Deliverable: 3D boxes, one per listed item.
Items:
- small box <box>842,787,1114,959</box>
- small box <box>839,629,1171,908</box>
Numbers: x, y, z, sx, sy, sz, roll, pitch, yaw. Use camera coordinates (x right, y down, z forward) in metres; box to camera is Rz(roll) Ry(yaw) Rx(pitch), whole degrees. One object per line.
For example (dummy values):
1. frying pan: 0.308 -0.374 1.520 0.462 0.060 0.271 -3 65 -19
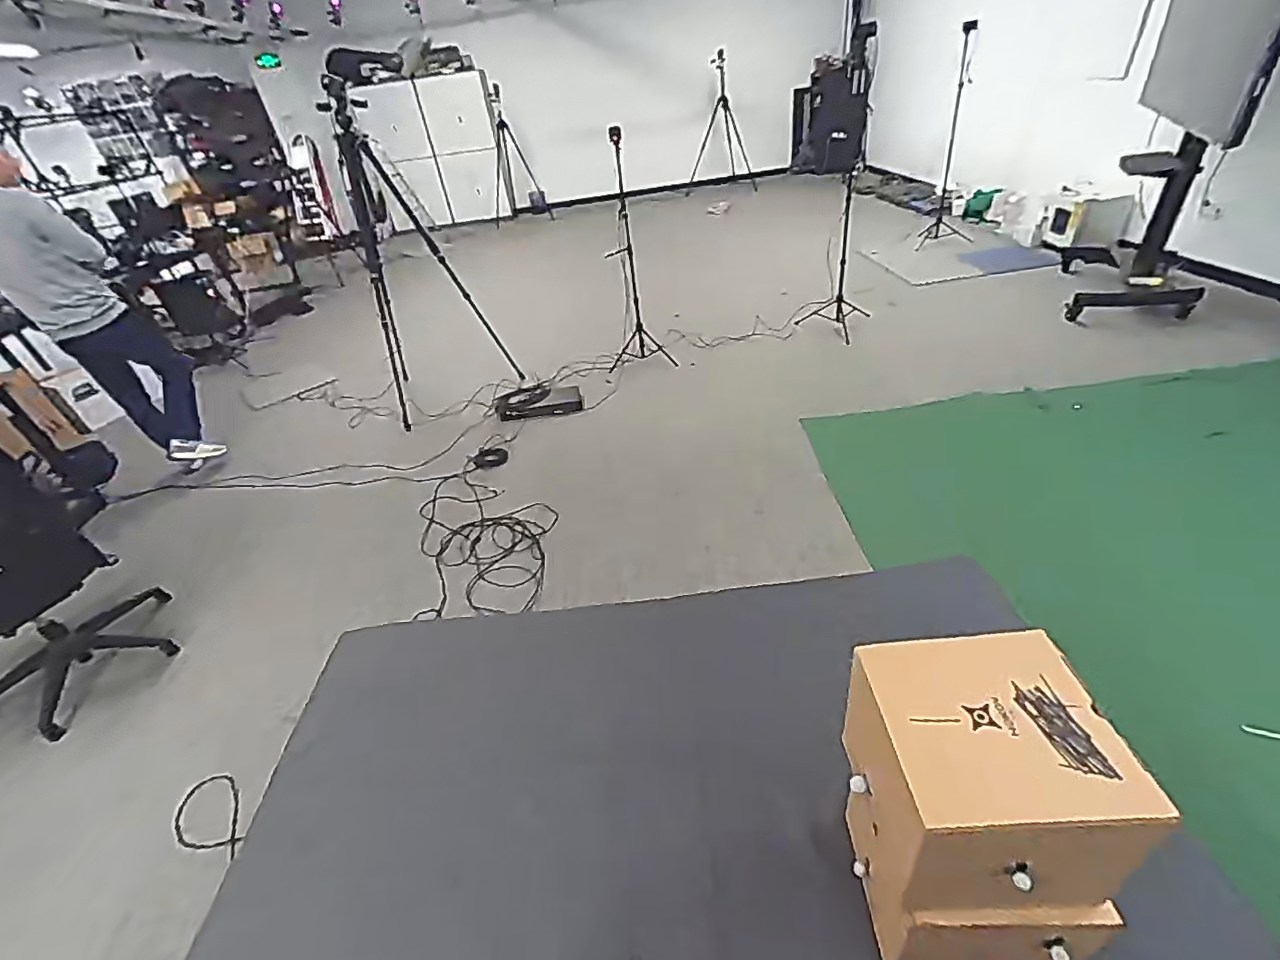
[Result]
1. small box: 0.328 0.398 0.573 0.179 0.176 0.168 -5 34 6
2. small box: 0.294 0.259 0.490 0.179 0.176 0.168 -7 35 5
